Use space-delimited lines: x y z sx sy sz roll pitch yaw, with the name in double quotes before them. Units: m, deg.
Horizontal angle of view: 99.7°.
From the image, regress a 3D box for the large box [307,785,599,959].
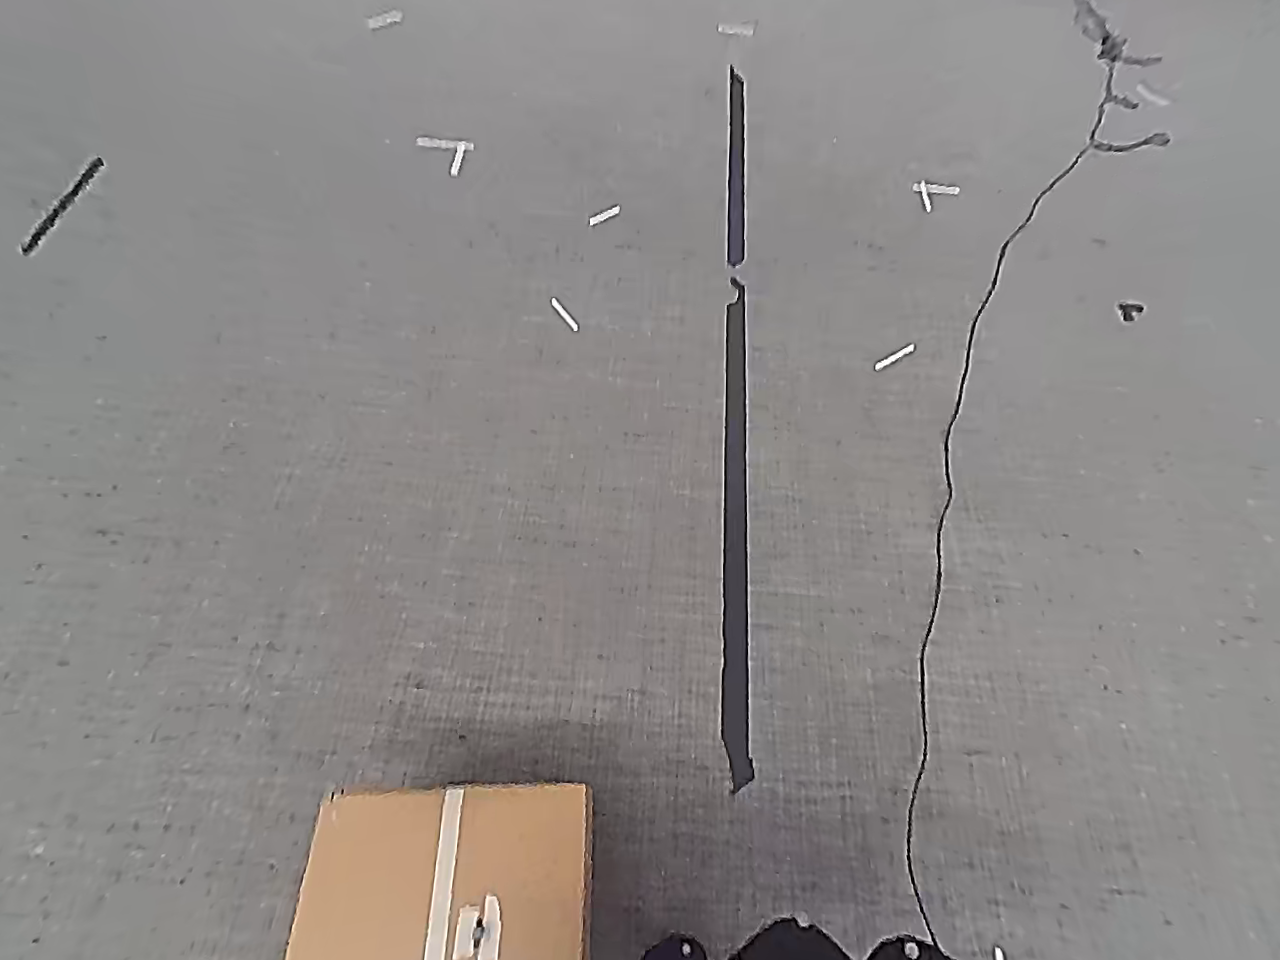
"large box" -0.212 0.638 0.697 0.320 0.320 0.408 -1 59 -4
